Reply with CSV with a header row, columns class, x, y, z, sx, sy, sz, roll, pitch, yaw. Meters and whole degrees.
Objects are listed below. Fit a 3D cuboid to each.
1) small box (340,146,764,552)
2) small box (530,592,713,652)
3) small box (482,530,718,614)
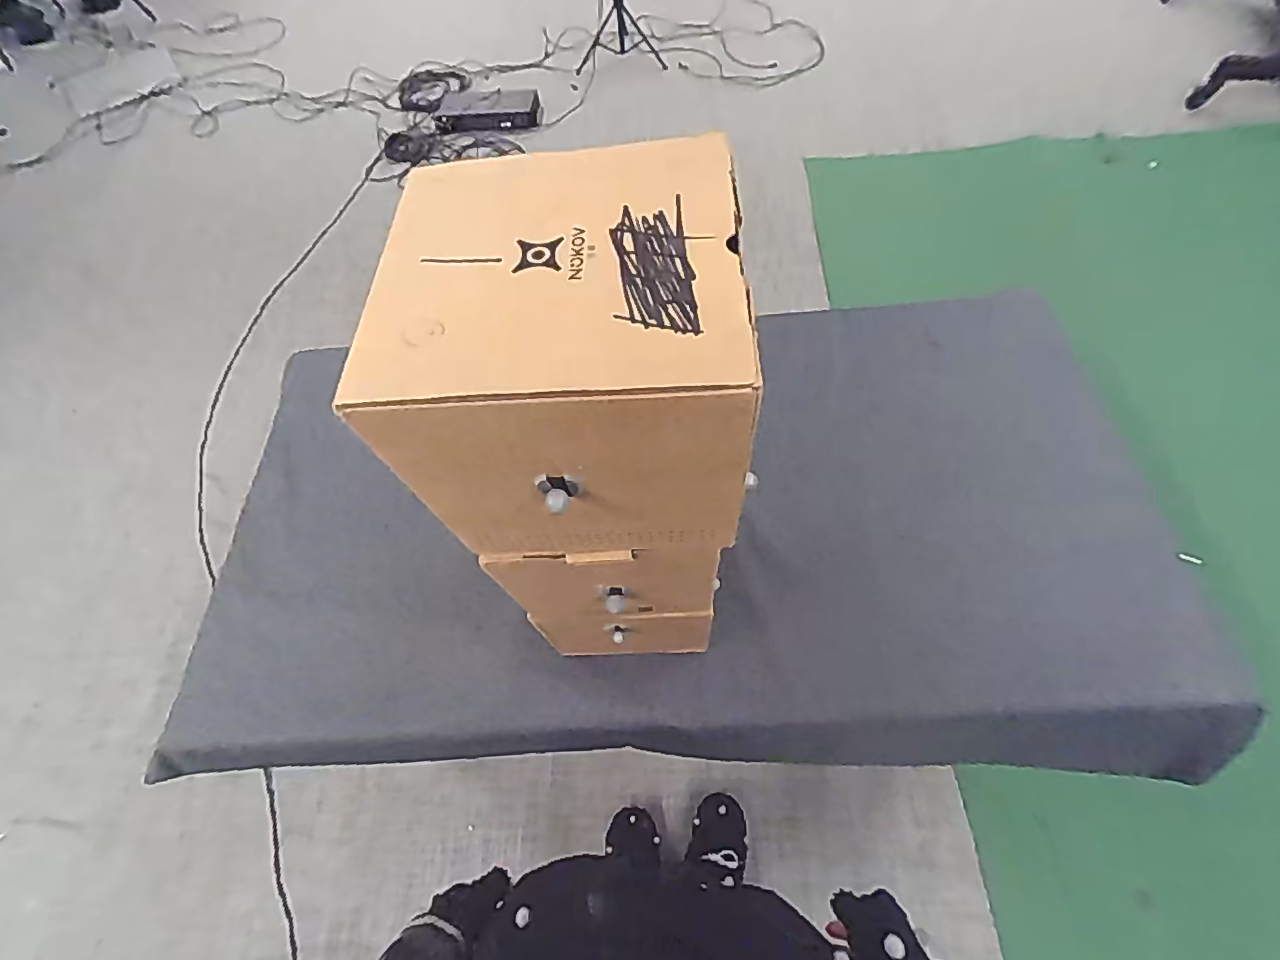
class,x,y,z,sx,sy,sz,roll,pitch,yaw
small box,-0.030,-0.062,0.323,0.179,0.176,0.168,-2,61,5
small box,-0.013,0.095,0.611,0.179,0.176,0.168,-2,62,2
small box,-0.024,0.013,0.470,0.168,0.176,0.179,-5,62,2
